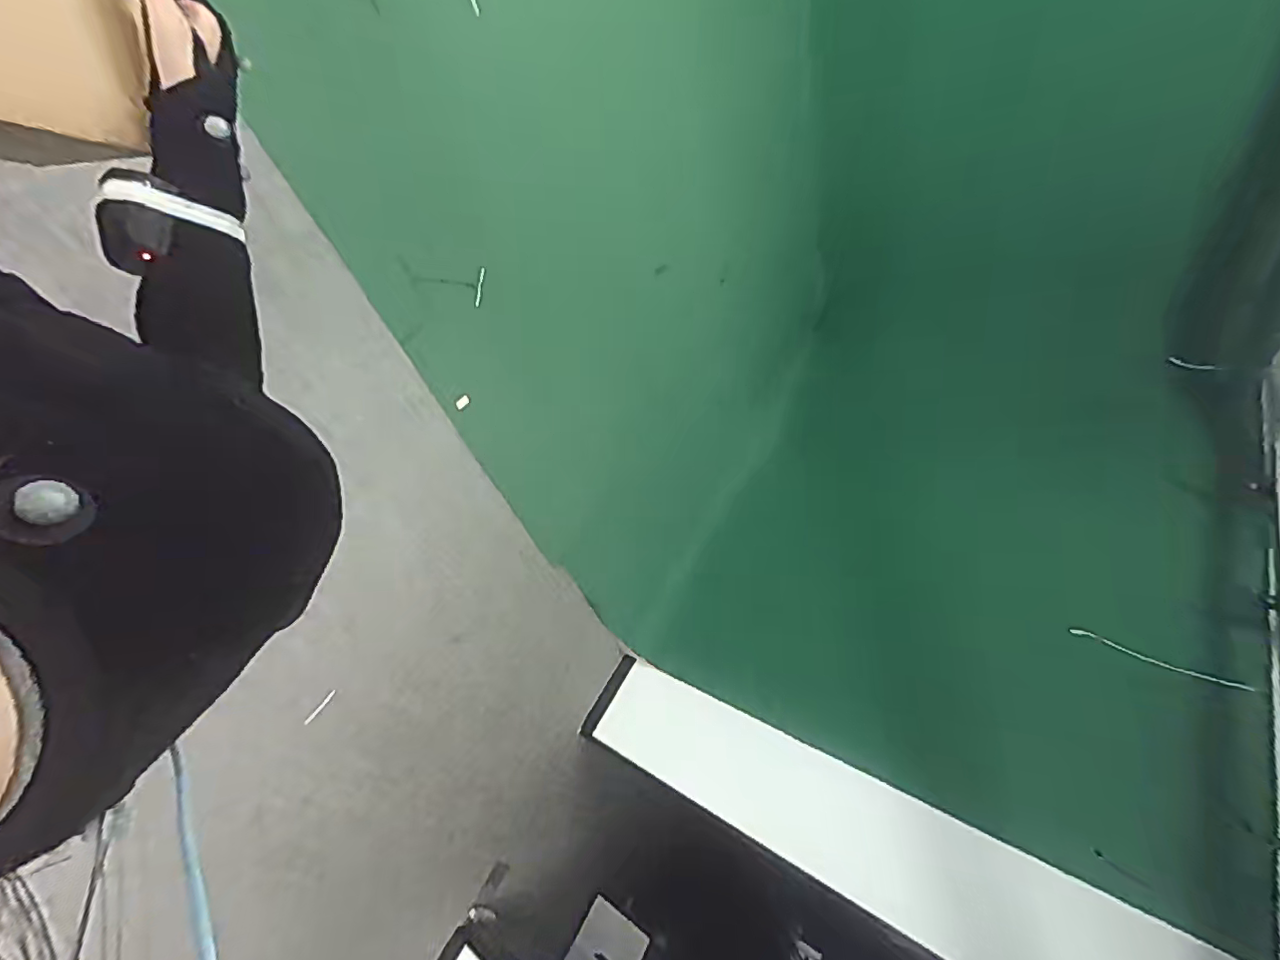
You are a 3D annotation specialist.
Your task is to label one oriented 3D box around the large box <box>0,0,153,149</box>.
[{"bbox_3d":[-0.604,-0.407,0.298,0.408,0.320,0.320,-21,122,-54],"label":"large box"}]
